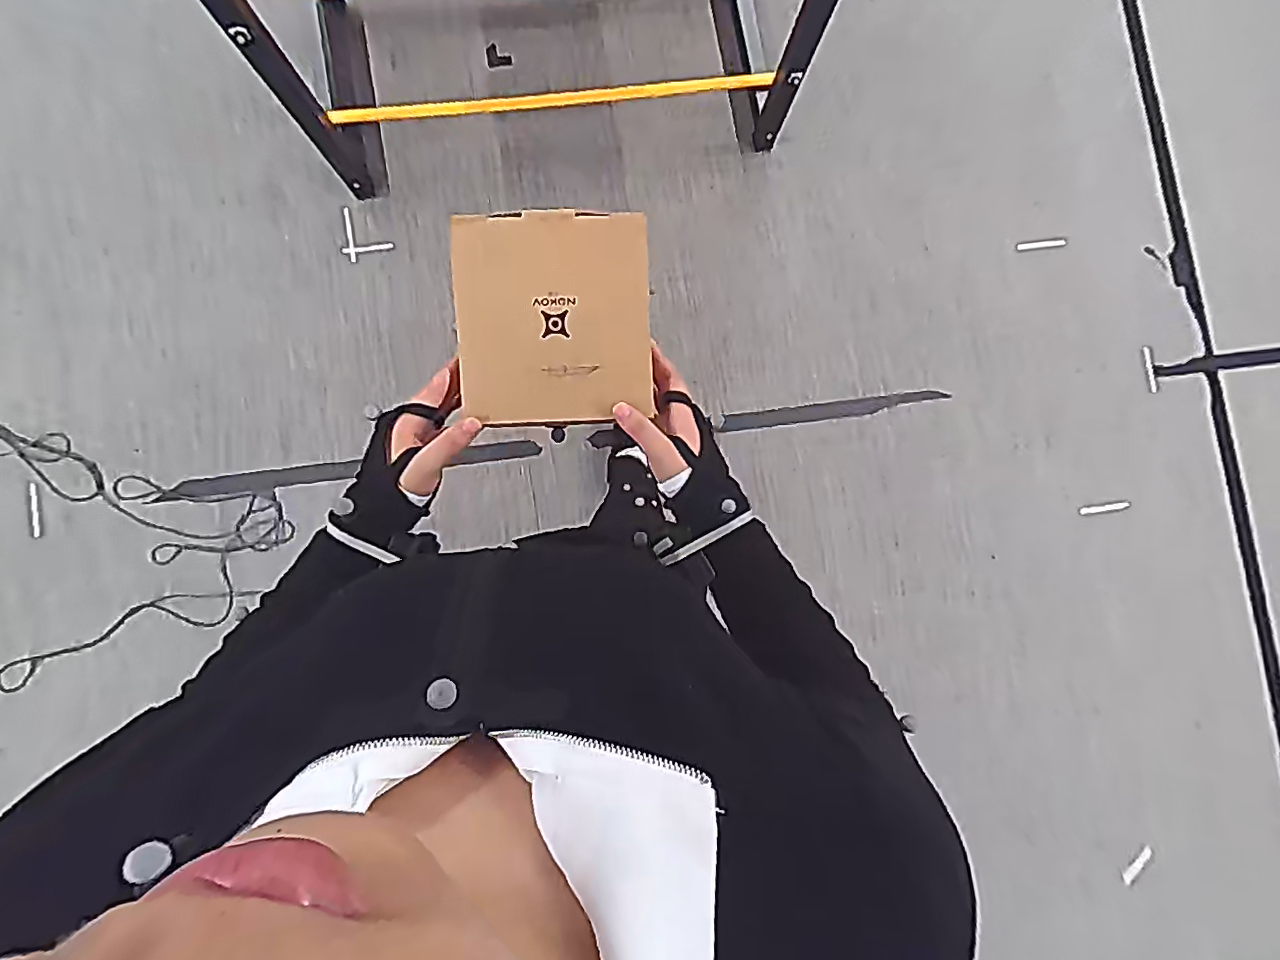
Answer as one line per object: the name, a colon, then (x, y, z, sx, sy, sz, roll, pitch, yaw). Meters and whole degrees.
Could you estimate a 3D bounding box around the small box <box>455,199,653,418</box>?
small box: (-0.078, -0.156, 0.541, 0.168, 0.176, 0.179, -3, 95, -3)
